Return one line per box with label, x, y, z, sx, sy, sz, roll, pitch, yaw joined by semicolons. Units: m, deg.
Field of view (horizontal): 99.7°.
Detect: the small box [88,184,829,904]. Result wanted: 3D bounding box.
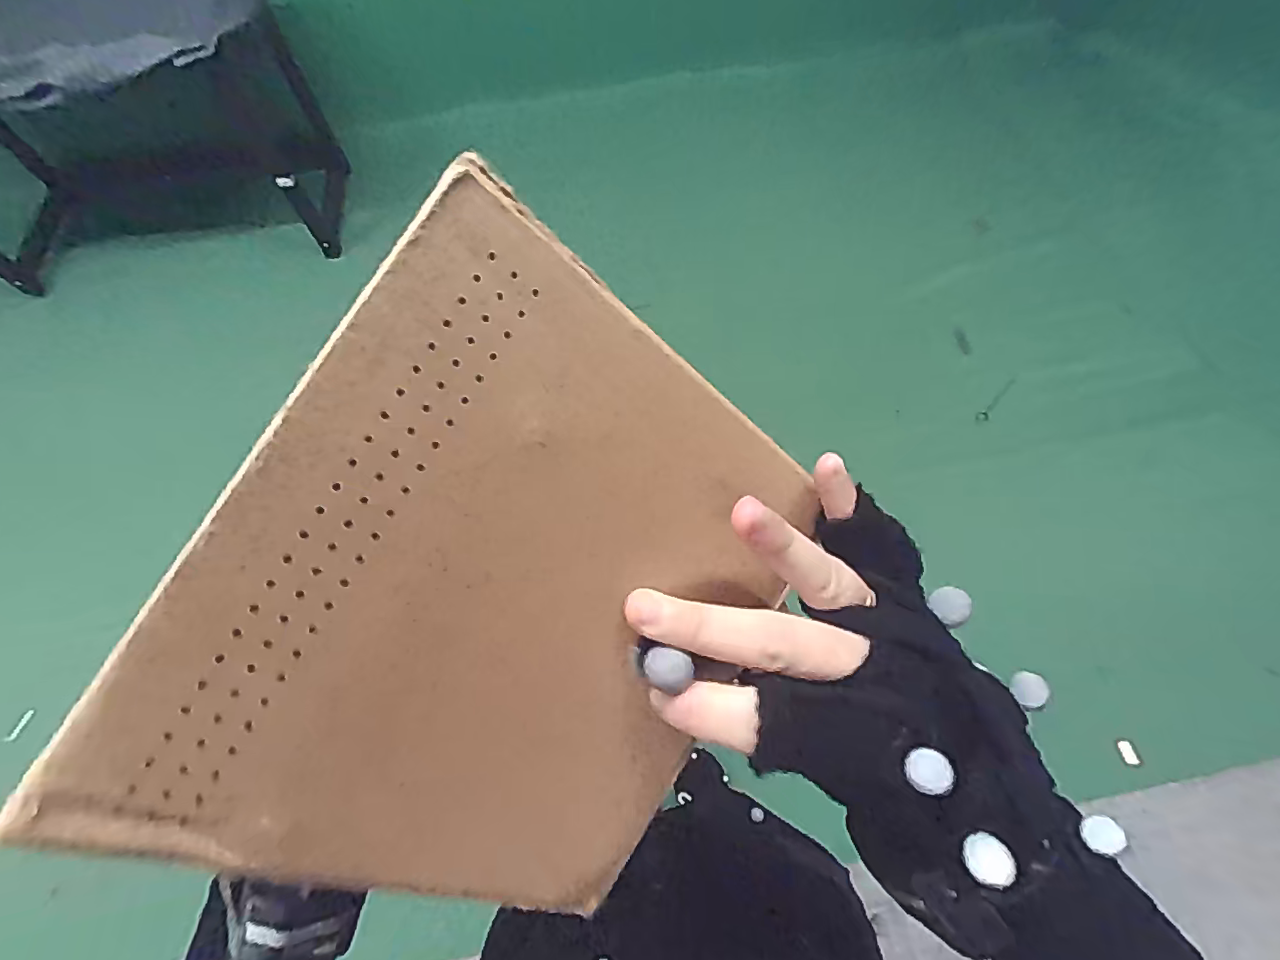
small box;-0.067;0.023;0.228;0.179;0.176;0.168;-57;30;-3
